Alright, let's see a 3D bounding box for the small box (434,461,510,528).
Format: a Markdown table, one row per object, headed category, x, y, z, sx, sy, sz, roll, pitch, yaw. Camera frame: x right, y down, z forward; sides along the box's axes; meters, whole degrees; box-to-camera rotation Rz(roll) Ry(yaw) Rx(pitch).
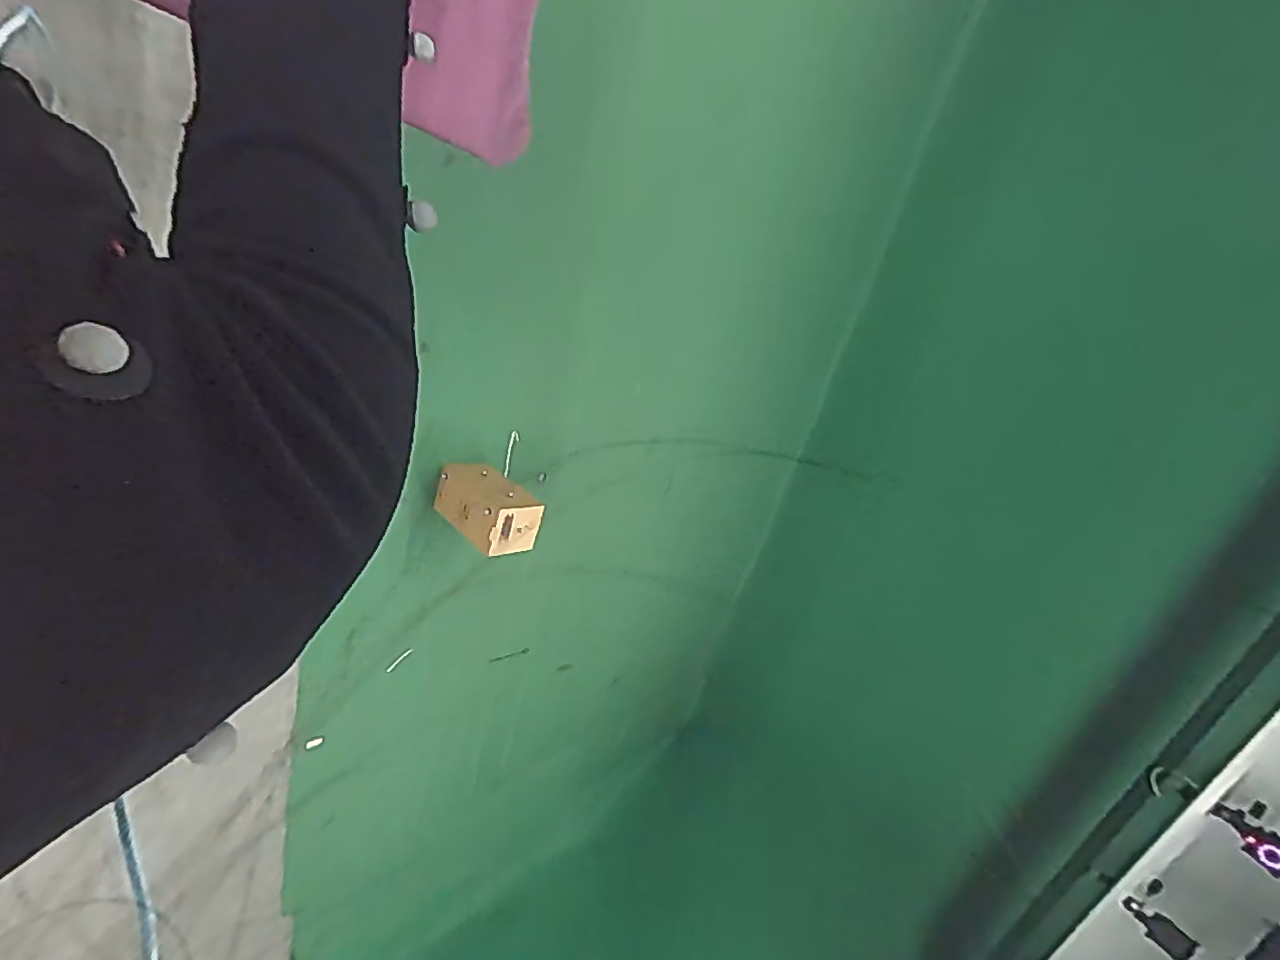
| category | x | y | z | sx | sy | sz | roll | pitch | yaw |
| --- | --- | --- | --- | --- | --- | --- | --- | --- | --- |
| small box | -0.572 | 0.042 | 1.821 | 0.179 | 0.176 | 0.168 | -6 | 120 | -48 |
